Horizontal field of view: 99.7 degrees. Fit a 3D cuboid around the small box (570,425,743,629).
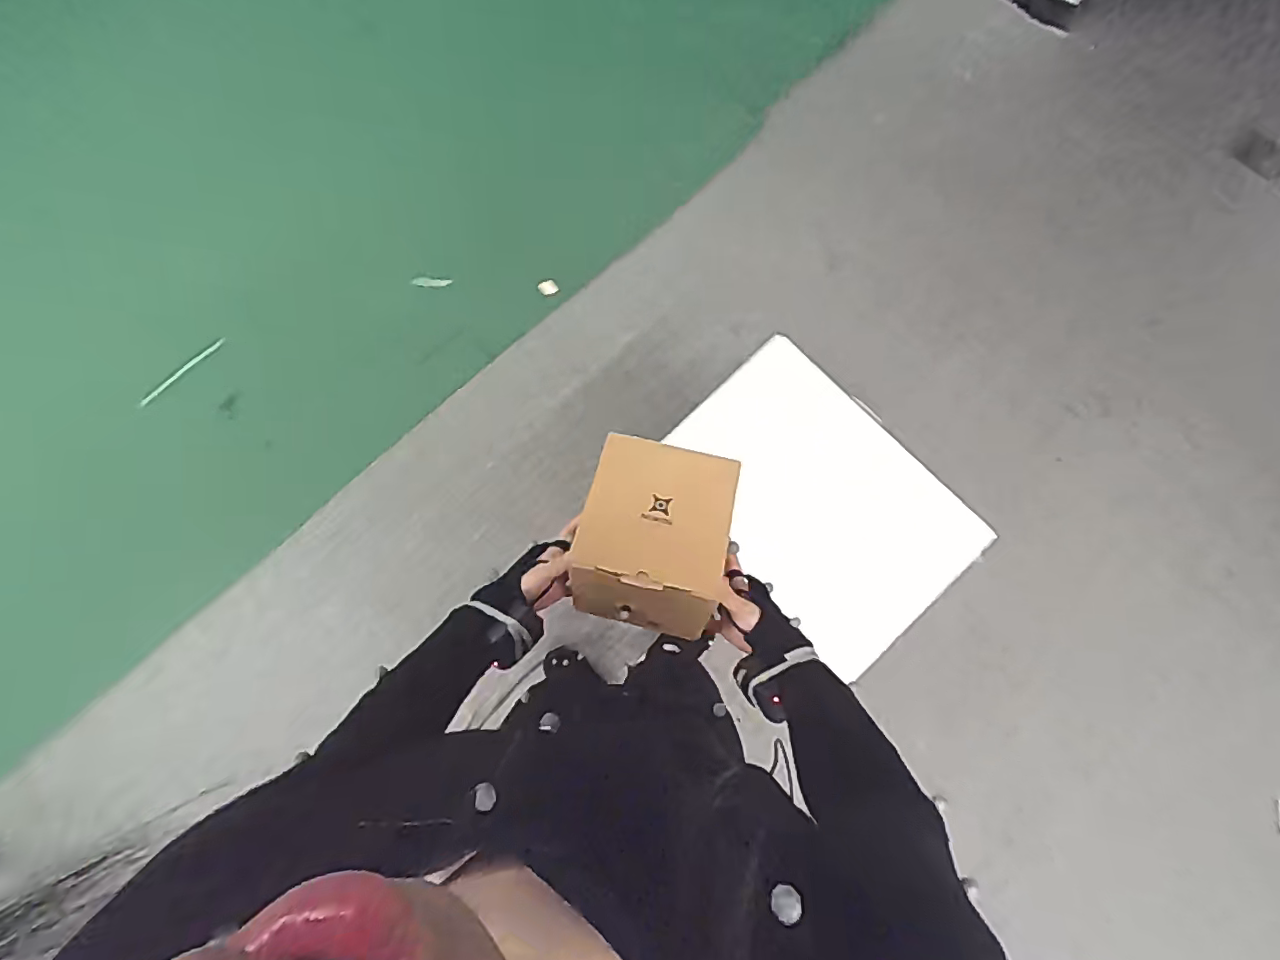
[{"bbox_3d":[0.019,0.063,0.661,0.168,0.176,0.179,12,62,4],"label":"small box"}]
